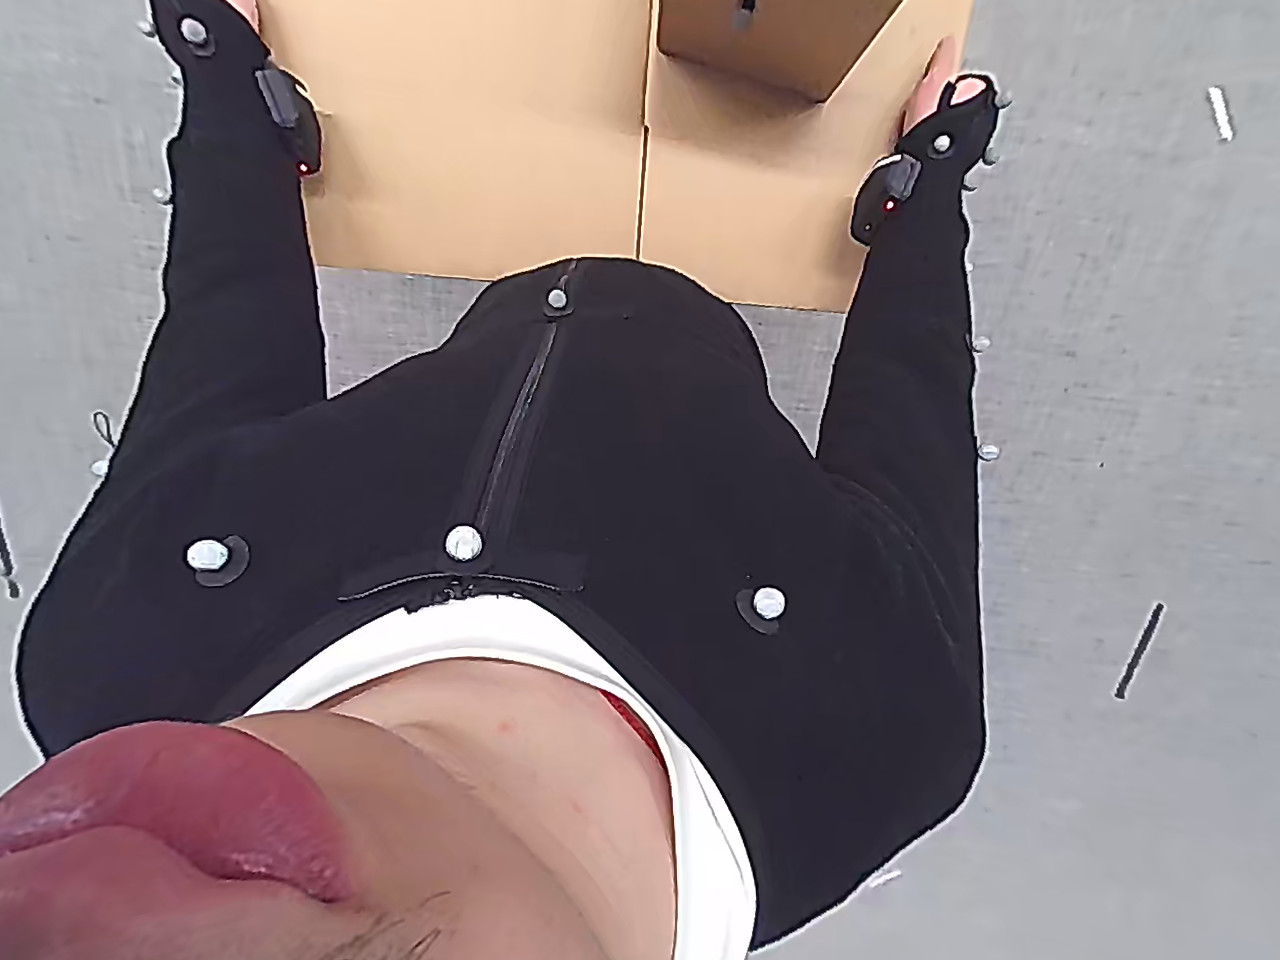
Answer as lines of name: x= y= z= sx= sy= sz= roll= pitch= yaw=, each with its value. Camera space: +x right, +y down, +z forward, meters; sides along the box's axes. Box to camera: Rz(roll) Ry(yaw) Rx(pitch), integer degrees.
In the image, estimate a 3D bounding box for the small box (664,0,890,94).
small box: x=0.121 y=-0.450 z=0.431 sx=0.179 sy=0.176 sz=0.168 roll=15 pitch=104 yaw=-3
